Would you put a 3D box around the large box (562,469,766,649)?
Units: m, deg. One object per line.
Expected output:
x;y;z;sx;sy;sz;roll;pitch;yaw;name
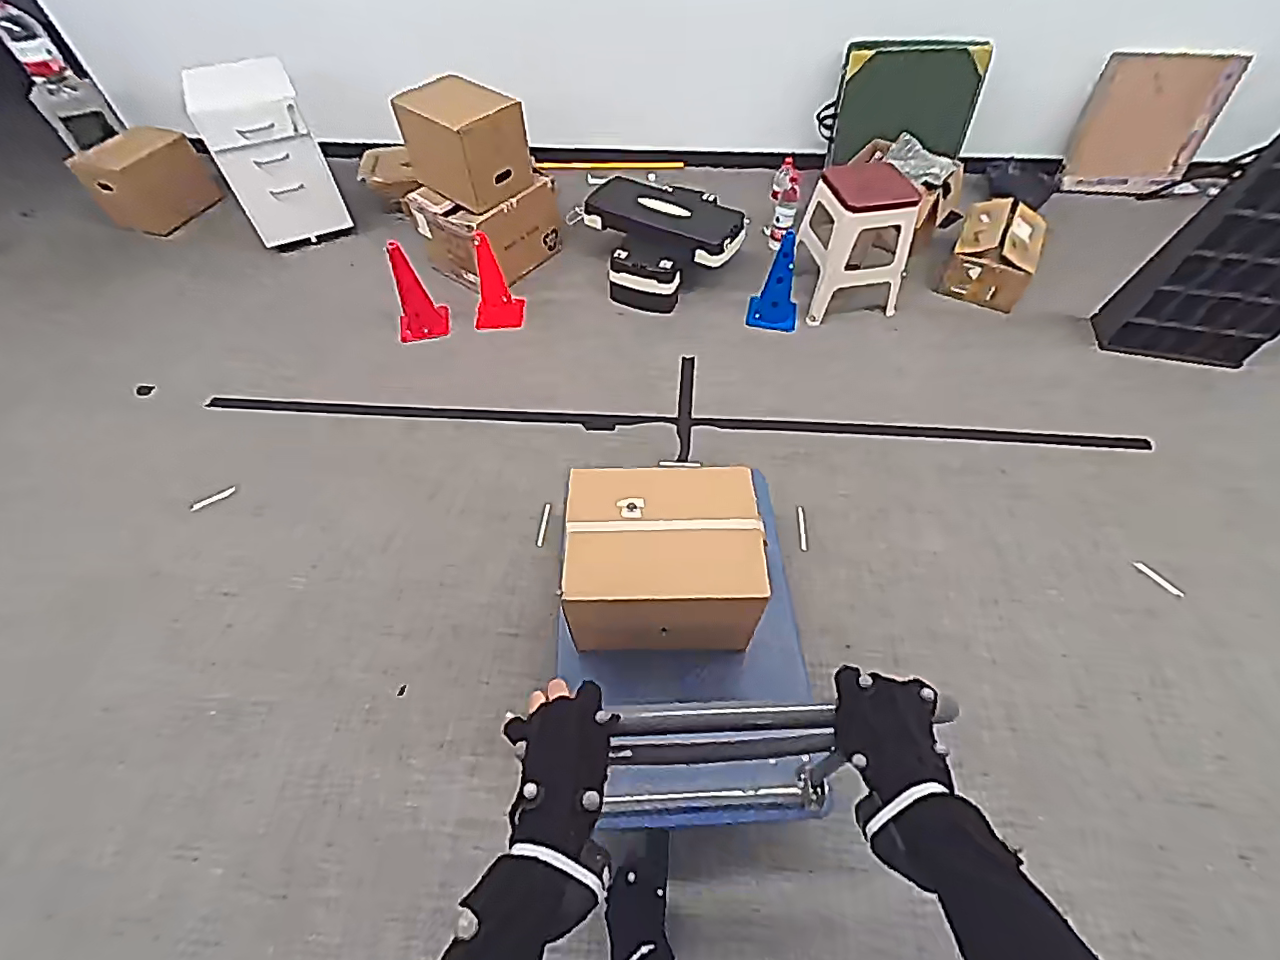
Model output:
0.048;0.192;1.256;0.408;0.320;0.320;-2;55;1;large box
